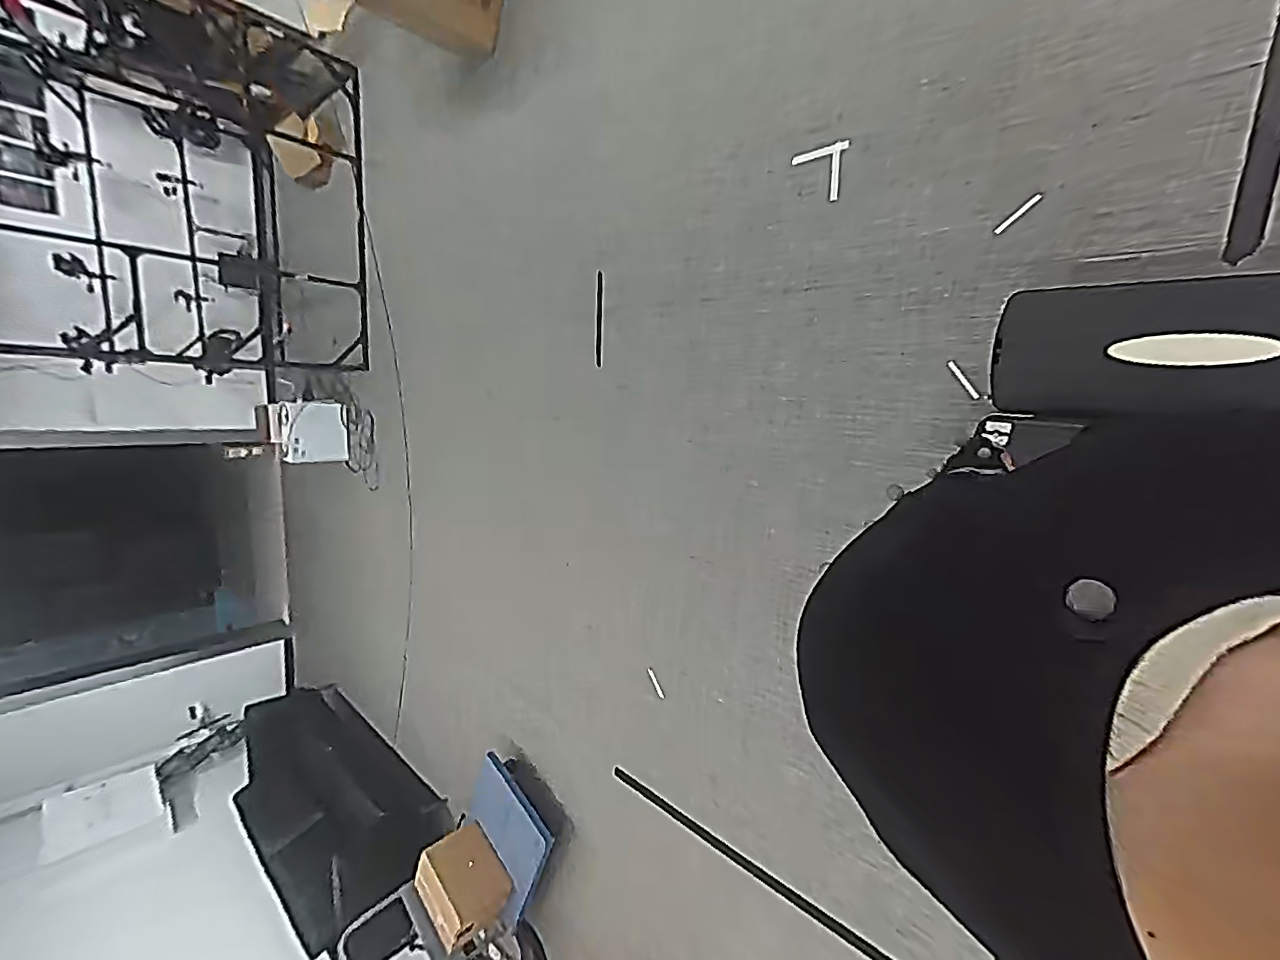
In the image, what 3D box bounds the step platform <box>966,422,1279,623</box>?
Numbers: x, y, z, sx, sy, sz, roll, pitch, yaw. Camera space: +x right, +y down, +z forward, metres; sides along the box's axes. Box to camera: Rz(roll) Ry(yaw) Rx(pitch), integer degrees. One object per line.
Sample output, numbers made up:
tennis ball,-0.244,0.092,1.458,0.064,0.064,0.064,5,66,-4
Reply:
step platform,1.058,0.072,1.084,0.684,0.204,0.286,18,105,43
